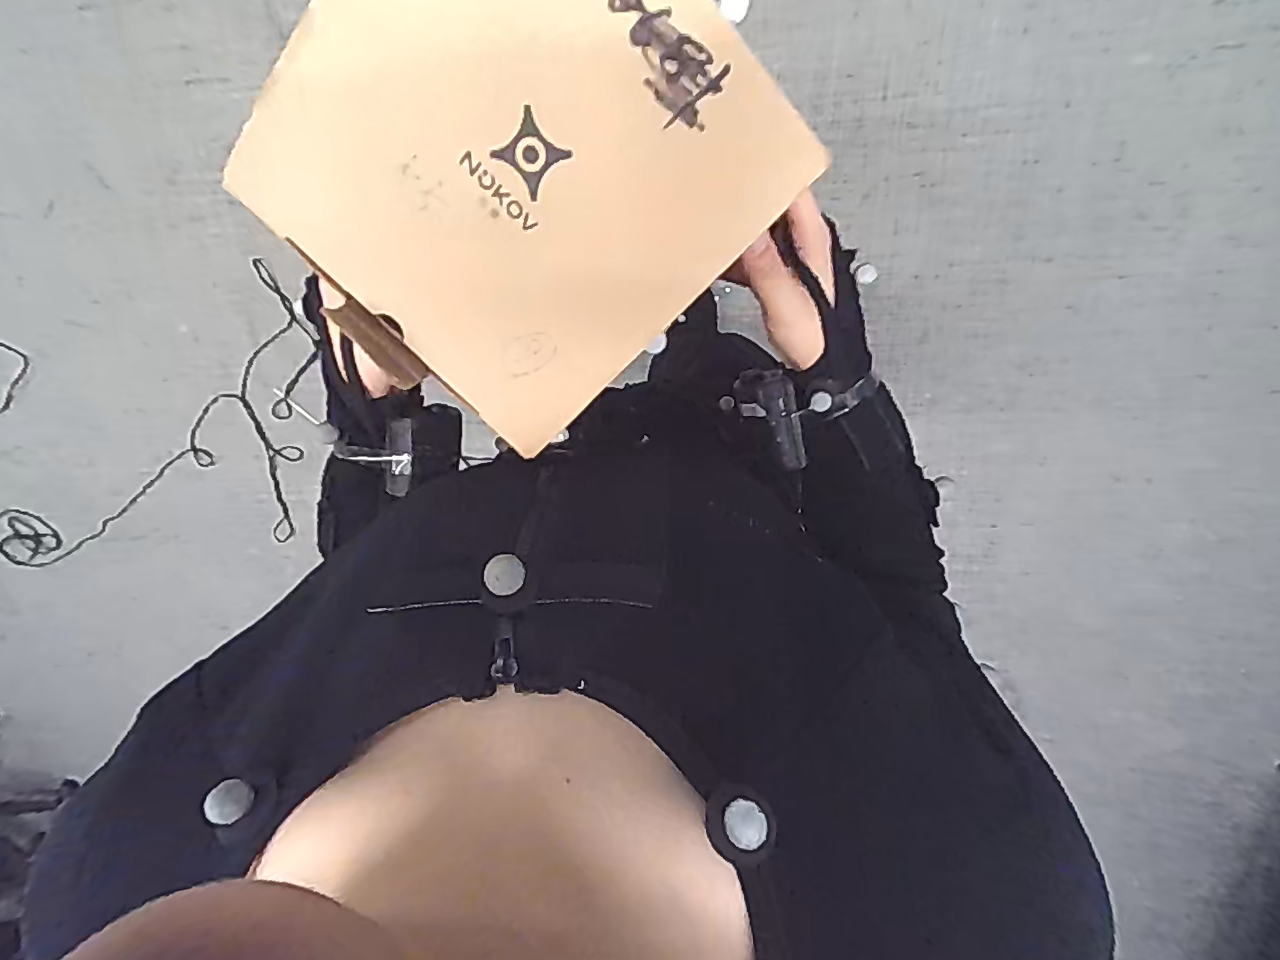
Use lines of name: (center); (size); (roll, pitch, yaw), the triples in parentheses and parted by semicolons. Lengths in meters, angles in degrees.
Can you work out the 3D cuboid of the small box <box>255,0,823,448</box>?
small box: (-0.038, -0.152, 0.287); (0.179, 0.176, 0.168); (-41, 105, 19)
